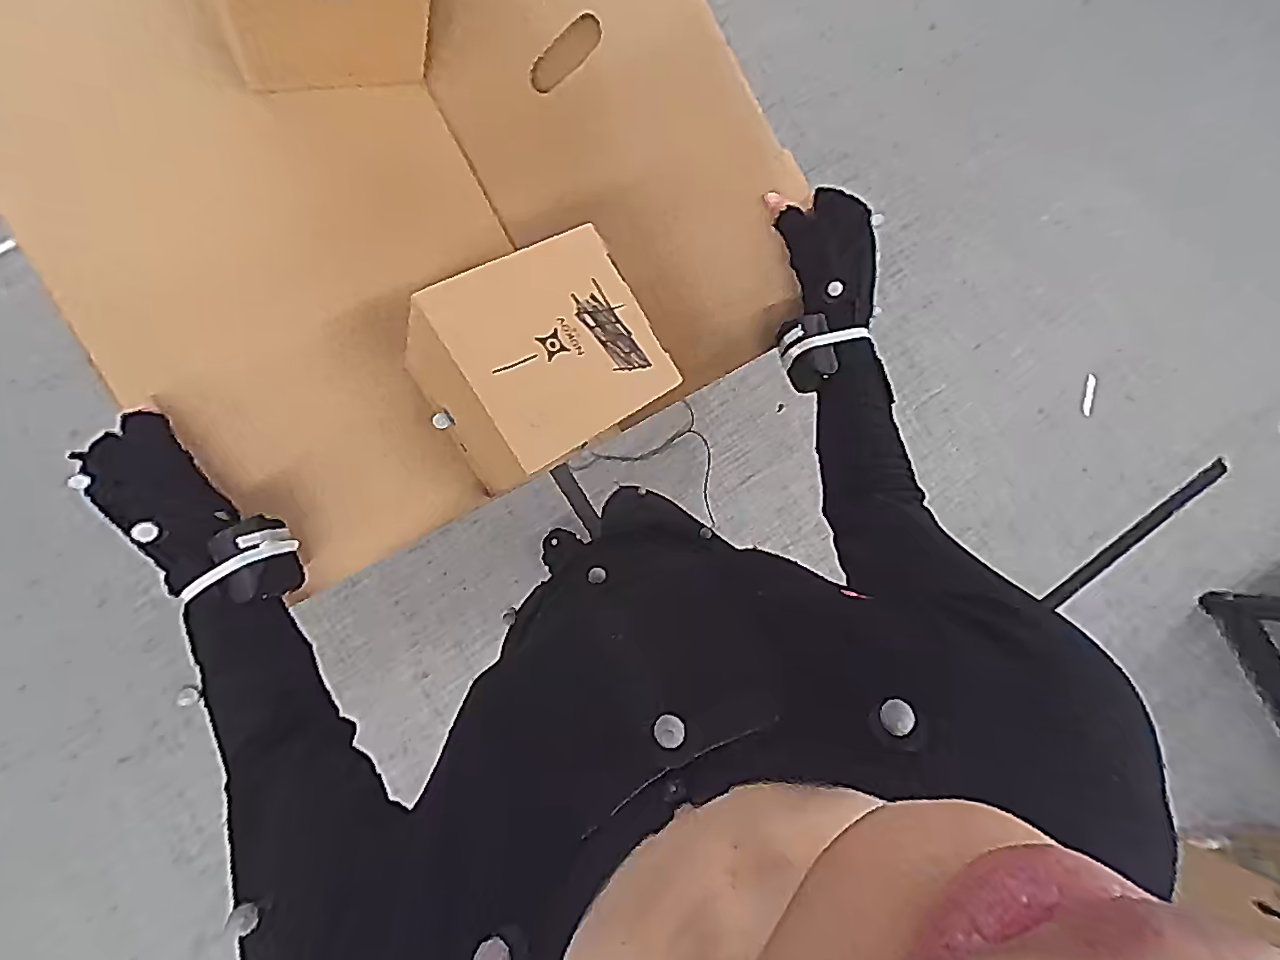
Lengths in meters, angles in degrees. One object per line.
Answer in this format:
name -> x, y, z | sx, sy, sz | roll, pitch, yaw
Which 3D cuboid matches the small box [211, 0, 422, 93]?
small box -> -0.313, -0.495, 0.498 | 0.179, 0.176, 0.168 | -25, 92, -27
